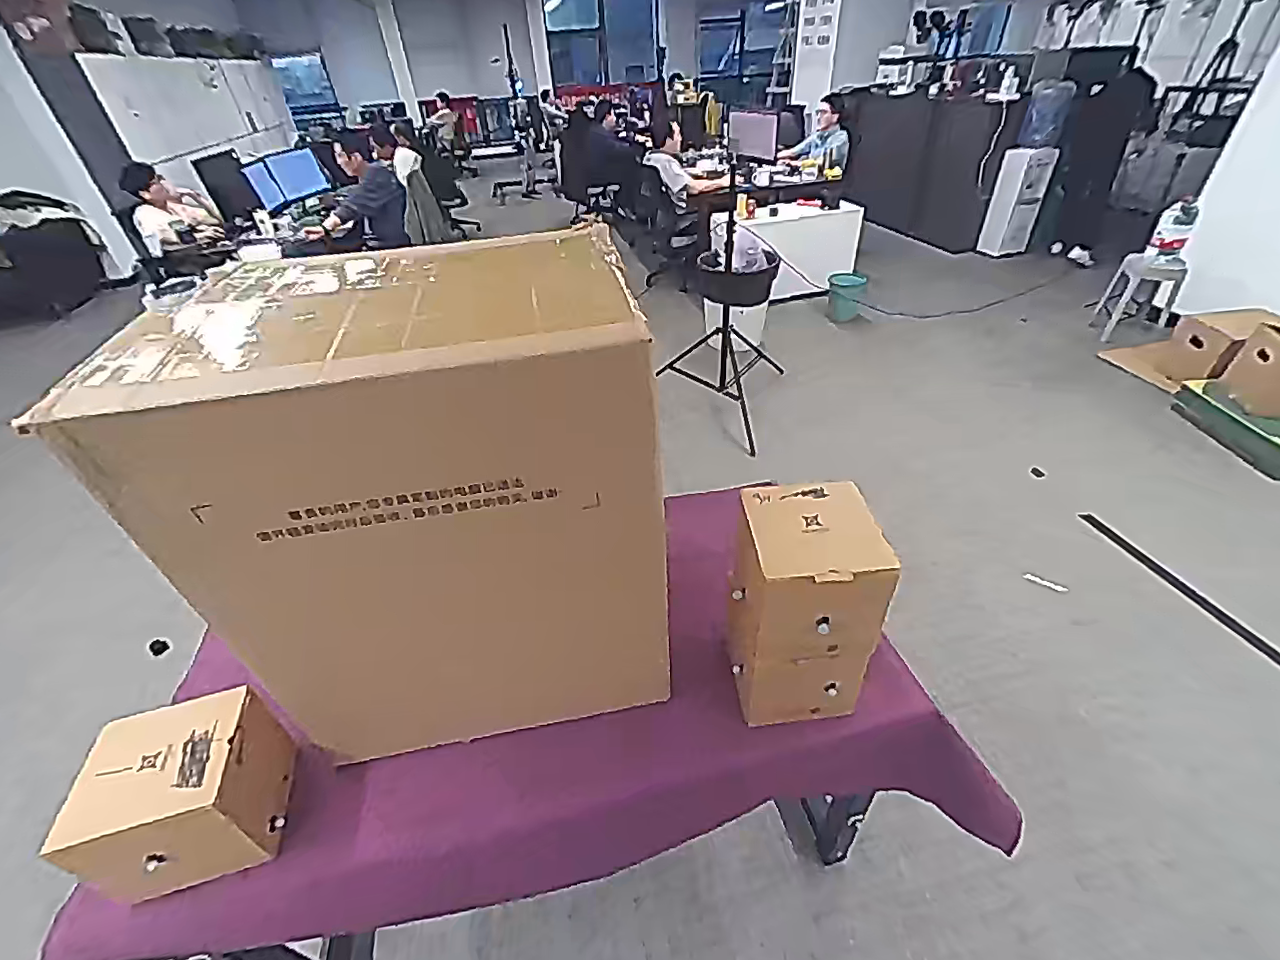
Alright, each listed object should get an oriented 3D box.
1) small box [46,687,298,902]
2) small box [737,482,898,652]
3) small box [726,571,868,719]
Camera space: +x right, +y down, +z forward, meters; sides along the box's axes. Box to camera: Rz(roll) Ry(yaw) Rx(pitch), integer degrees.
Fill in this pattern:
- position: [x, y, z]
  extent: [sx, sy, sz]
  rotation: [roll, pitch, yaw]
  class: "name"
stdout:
- position: [-0.591, 0.415, 0.720]
  extent: [0.179, 0.176, 0.168]
  rotation: [-13, 37, -13]
  class: "small box"
- position: [0.232, 0.125, 0.756]
  extent: [0.168, 0.176, 0.179]
  rotation: [-4, 38, 1]
  class: "small box"
- position: [0.234, 0.257, 0.853]
  extent: [0.168, 0.176, 0.179]
  rotation: [-6, 36, -2]
  class: "small box"
